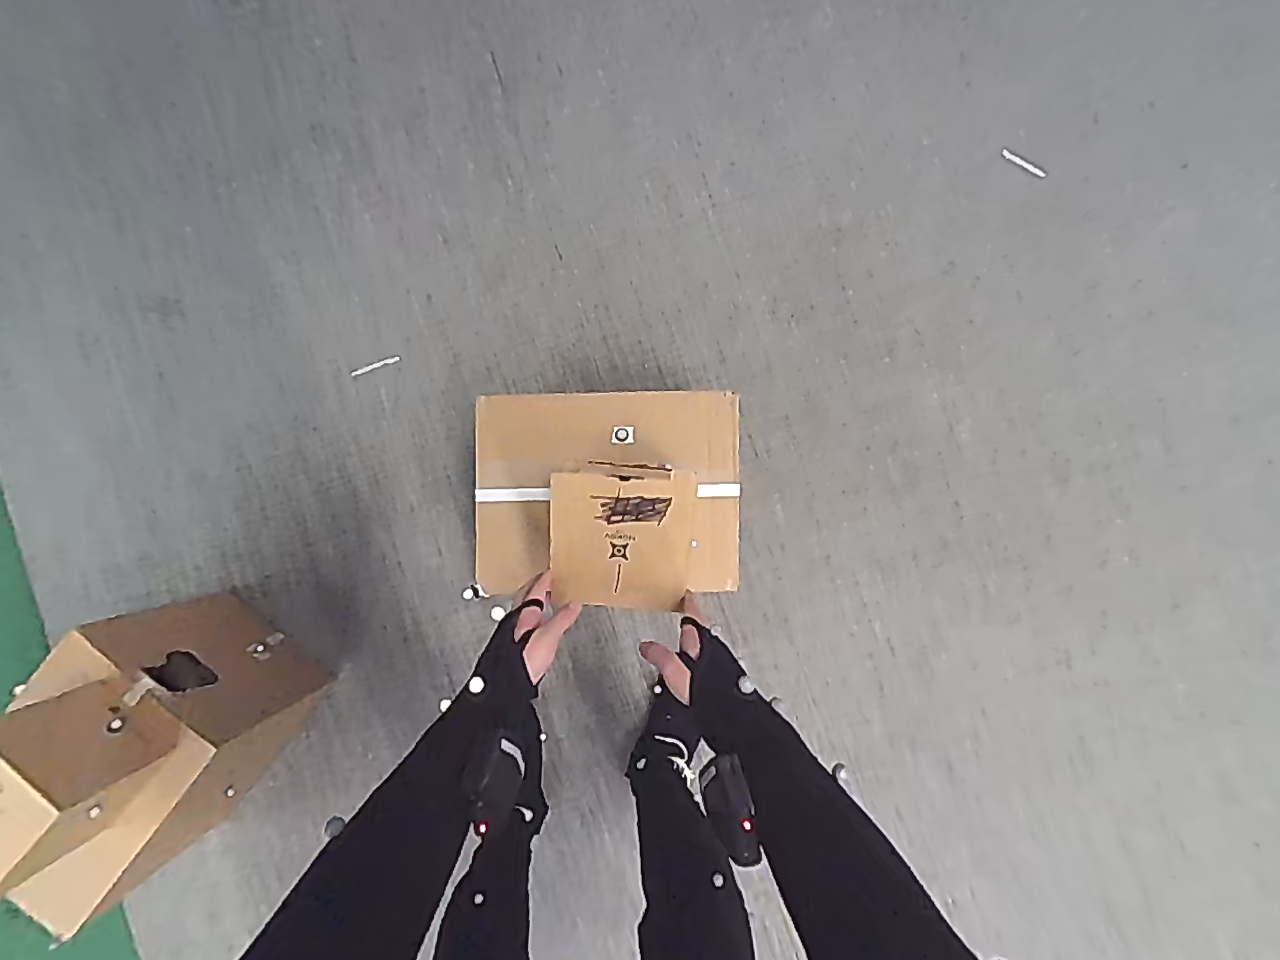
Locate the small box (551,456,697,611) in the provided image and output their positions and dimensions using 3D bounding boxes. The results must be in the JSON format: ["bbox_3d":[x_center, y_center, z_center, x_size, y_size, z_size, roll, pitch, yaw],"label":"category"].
[{"bbox_3d":[-0.019,0.066,0.738,0.168,0.176,0.179,5,90,2],"label":"small box"}]

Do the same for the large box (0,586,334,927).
[{"bbox_3d":[-0.888,0.471,1.014,0.320,0.320,0.408,38,93,3],"label":"large box"}]
